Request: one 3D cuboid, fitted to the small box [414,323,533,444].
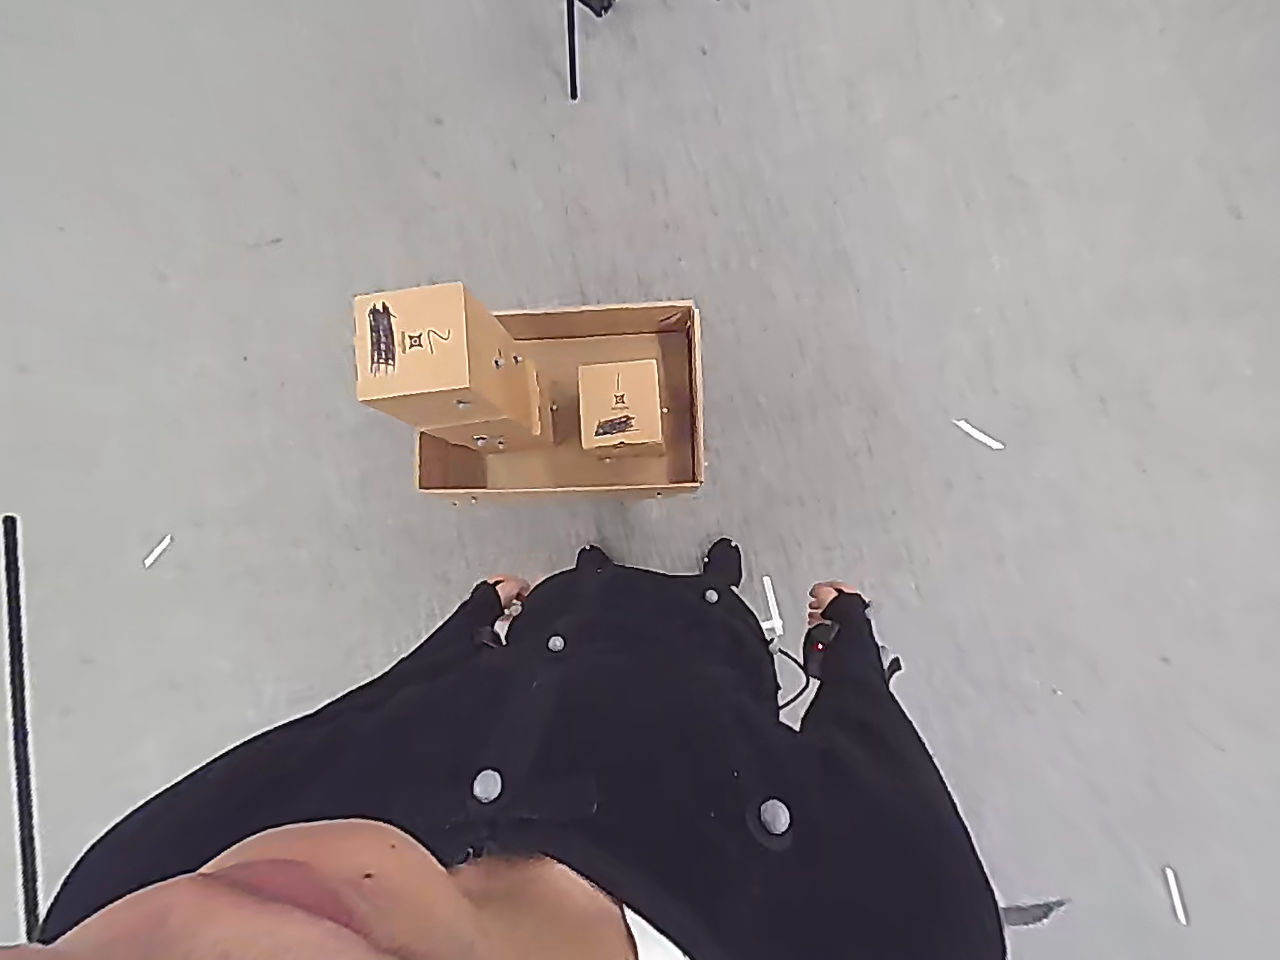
[{"bbox_3d":[-0.313,-0.178,1.039,0.168,0.176,0.179,-7,83,4],"label":"small box"}]

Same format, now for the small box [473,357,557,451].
[{"bbox_3d":[-0.291,-0.161,1.200,0.179,0.176,0.168,-5,84,4],"label":"small box"}]

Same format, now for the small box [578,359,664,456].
[{"bbox_3d":[-0.036,-0.150,1.179,0.168,0.176,0.179,-4,83,4],"label":"small box"}]
